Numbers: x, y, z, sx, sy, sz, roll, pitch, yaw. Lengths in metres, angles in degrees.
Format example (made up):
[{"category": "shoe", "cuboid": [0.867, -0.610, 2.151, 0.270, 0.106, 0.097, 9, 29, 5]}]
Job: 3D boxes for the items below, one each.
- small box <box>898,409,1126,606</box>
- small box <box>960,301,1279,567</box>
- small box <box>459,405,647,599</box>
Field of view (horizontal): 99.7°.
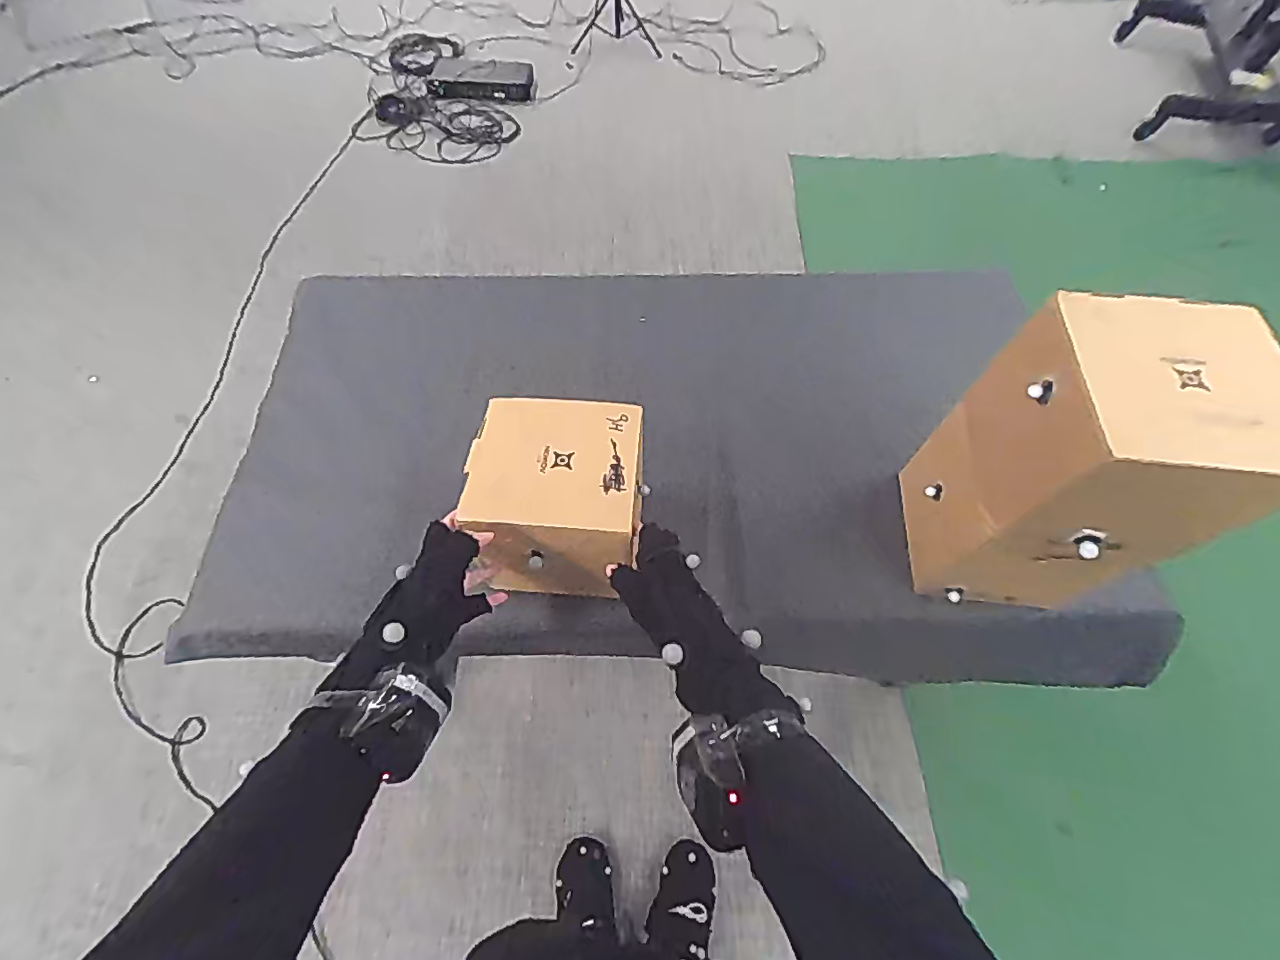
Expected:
[{"category": "small box", "cuboid": [0.432, 0.040, 0.648, 0.168, 0.176, 0.179, 6, 60, 3]}, {"category": "small box", "cuboid": [0.429, -0.037, 0.505, 0.168, 0.176, 0.179, 6, 62, 4]}, {"category": "small box", "cuboid": [-0.086, 0.030, 0.641, 0.179, 0.176, 0.168, 3, 55, 4]}]
